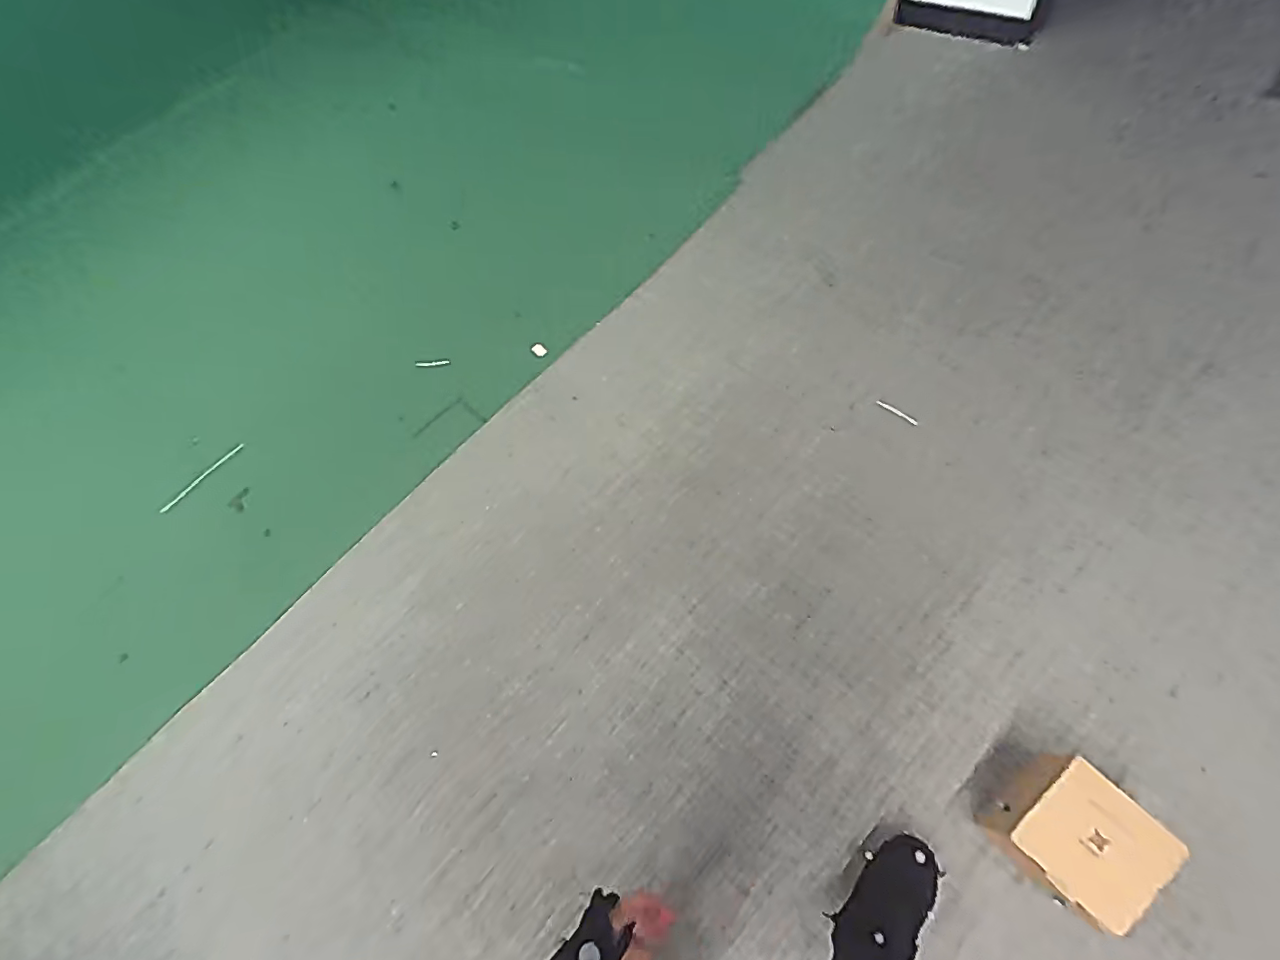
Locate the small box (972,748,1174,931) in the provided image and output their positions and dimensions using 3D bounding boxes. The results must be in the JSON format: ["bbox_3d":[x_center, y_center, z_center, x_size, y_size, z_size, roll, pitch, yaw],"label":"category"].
[{"bbox_3d":[0.682,0.567,0.881,0.179,0.176,0.168,-41,65,-9],"label":"small box"}]
